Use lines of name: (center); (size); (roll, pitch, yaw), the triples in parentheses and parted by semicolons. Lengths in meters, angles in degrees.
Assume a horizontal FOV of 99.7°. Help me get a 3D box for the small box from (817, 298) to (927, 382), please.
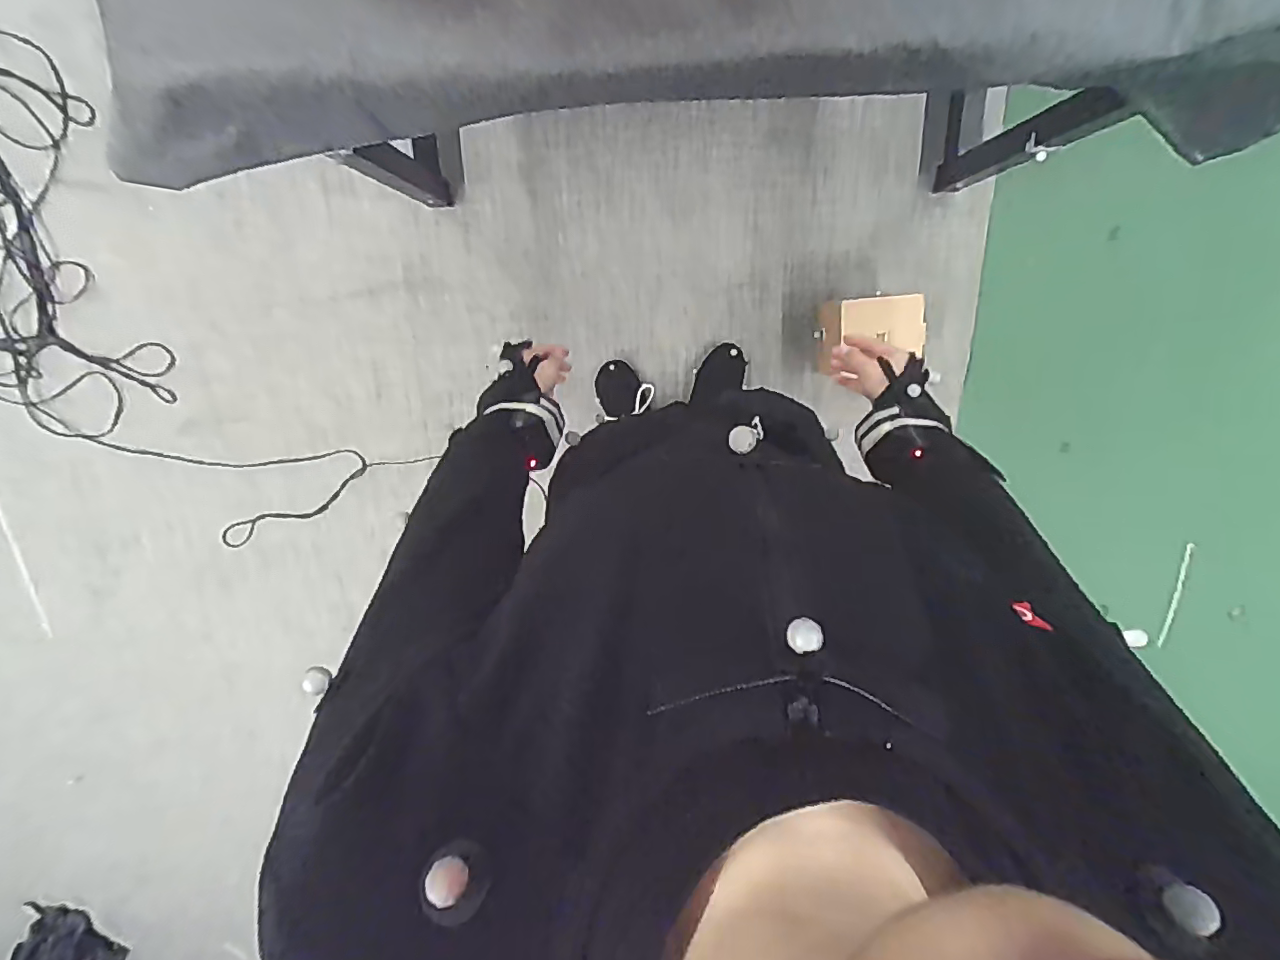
small box: (0.508, -0.312, 1.204); (0.179, 0.176, 0.168); (-4, 105, 3)
